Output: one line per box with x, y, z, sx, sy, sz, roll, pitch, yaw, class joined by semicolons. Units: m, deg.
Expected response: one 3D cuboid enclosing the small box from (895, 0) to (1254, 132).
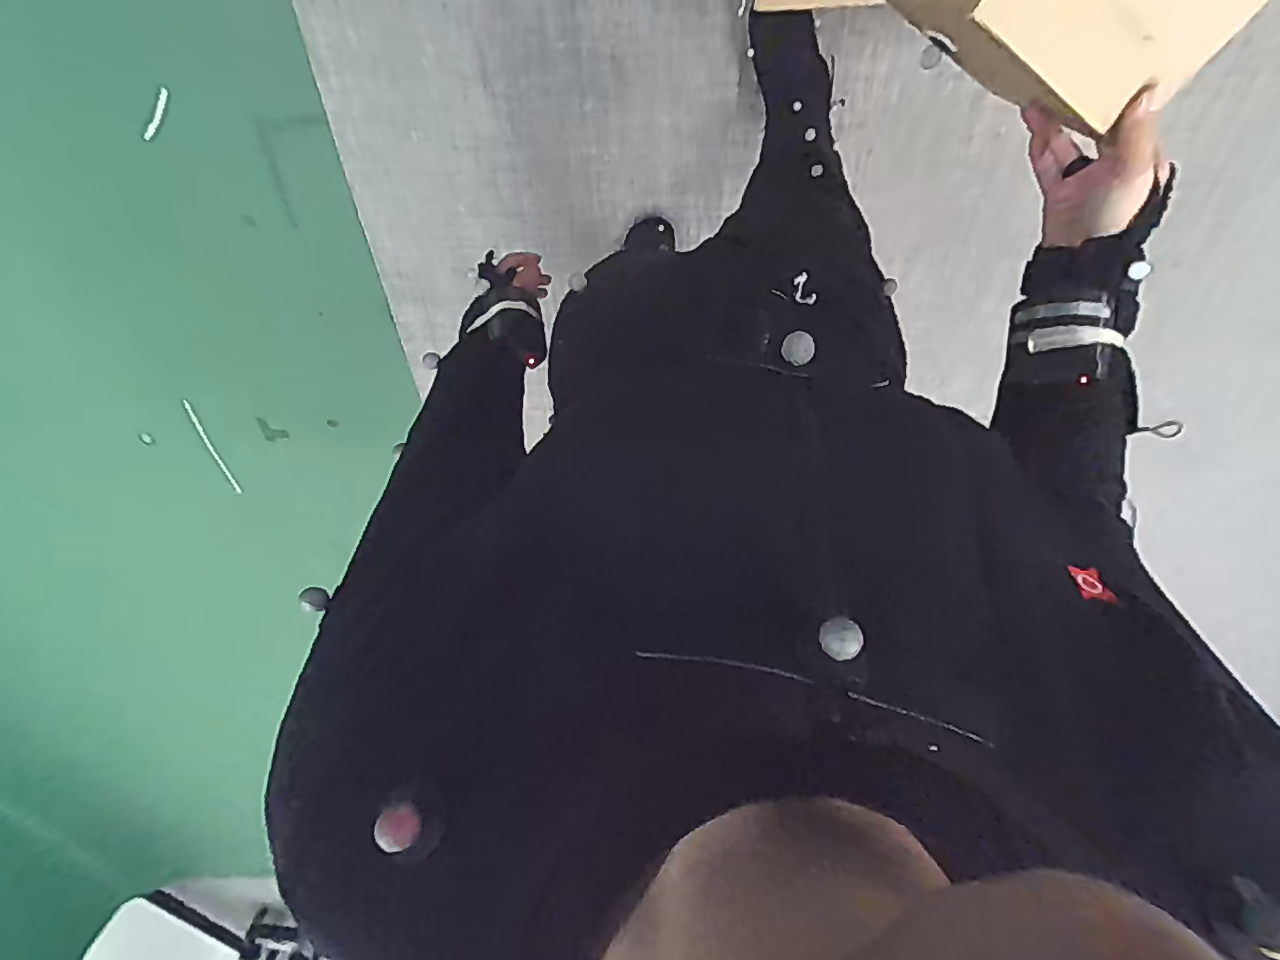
0.298;-0.377;0.351;0.168;0.176;0.179;15;132;-23;small box
